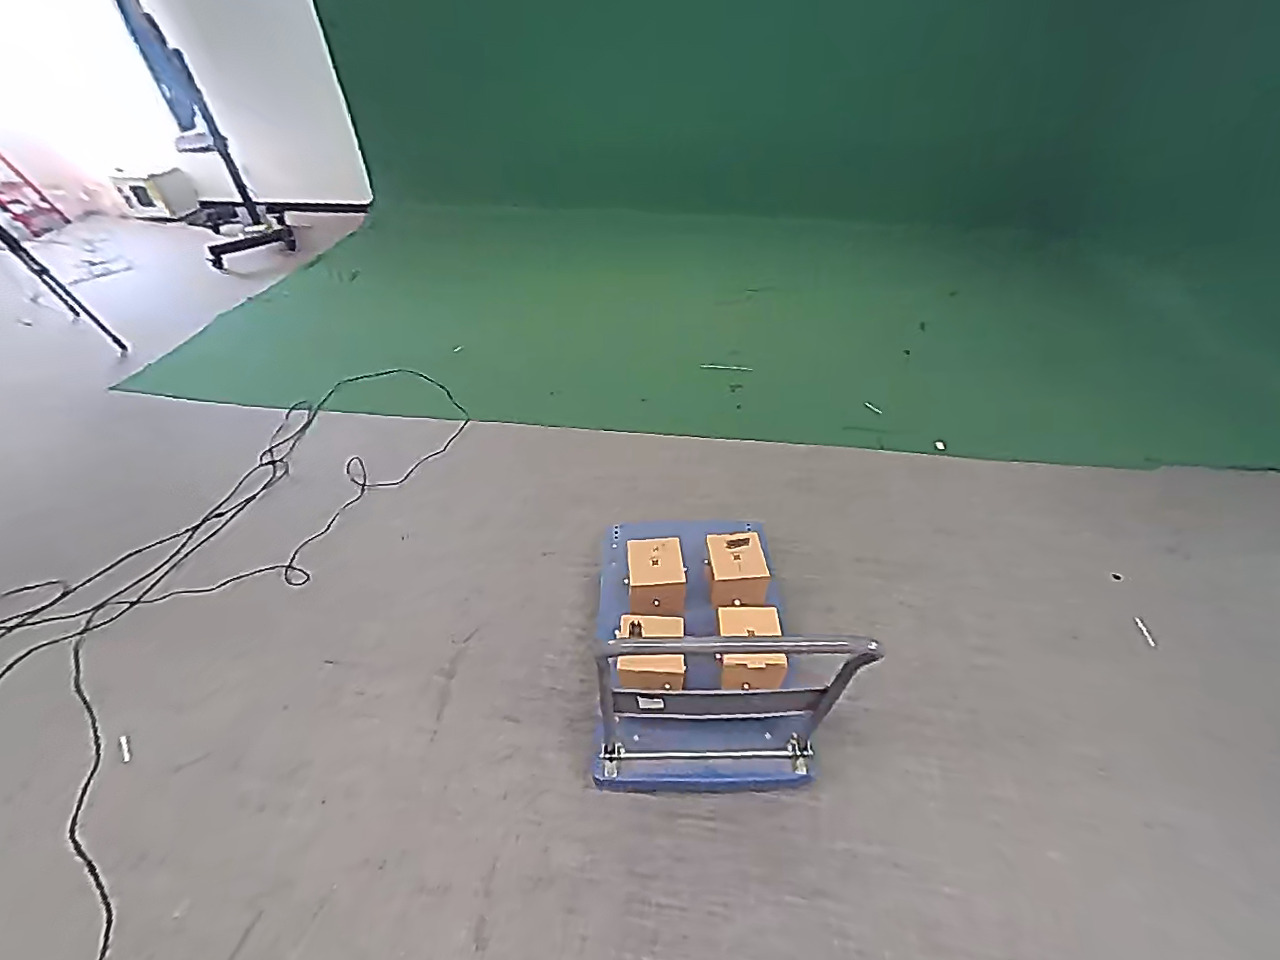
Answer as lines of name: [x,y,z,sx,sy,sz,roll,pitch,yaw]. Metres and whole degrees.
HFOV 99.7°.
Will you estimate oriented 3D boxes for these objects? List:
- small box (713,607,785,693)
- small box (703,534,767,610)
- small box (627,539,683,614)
small box: [0.301,0.481,1.534,0.168,0.176,0.179,0,44,0]
small box: [0.296,0.294,1.729,0.168,0.176,0.179,-4,44,-2]
small box: [0.046,0.311,1.716,0.168,0.176,0.179,-3,44,-3]
